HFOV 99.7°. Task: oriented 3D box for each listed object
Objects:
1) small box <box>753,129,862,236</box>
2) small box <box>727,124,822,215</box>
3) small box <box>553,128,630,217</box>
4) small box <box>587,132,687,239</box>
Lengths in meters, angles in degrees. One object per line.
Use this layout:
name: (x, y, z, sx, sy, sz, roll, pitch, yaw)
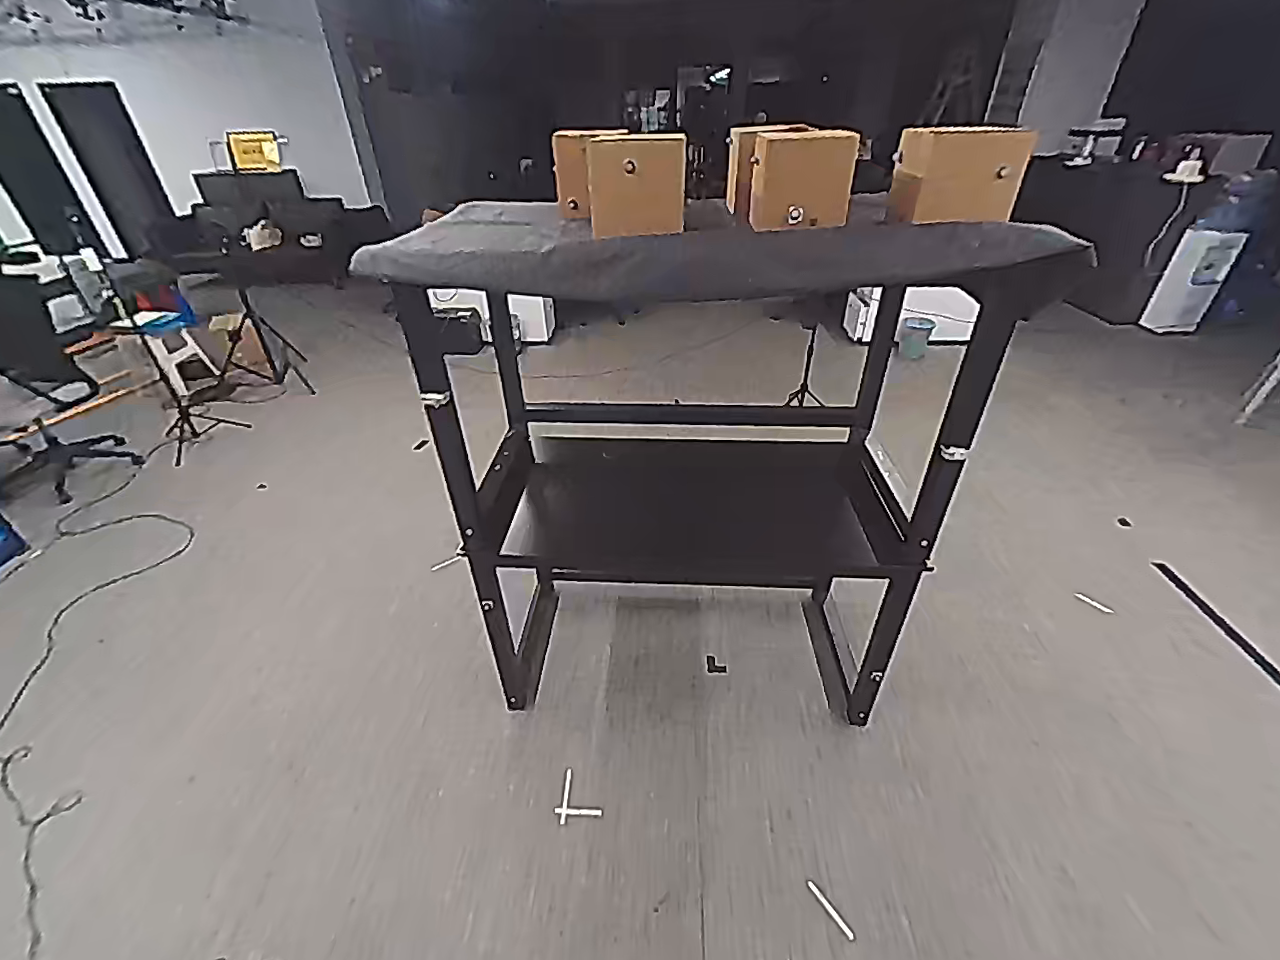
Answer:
small box: (0.315, -0.584, 1.058, 0.168, 0.176, 0.179, 1, 34, 5)
small box: (0.304, -0.722, 1.256, 0.179, 0.176, 0.168, 1, 34, 2)
small box: (-0.103, -0.721, 1.269, 0.168, 0.176, 0.179, -1, 35, 0)
small box: (0.001, -0.573, 1.053, 0.179, 0.176, 0.168, 2, 35, 5)
